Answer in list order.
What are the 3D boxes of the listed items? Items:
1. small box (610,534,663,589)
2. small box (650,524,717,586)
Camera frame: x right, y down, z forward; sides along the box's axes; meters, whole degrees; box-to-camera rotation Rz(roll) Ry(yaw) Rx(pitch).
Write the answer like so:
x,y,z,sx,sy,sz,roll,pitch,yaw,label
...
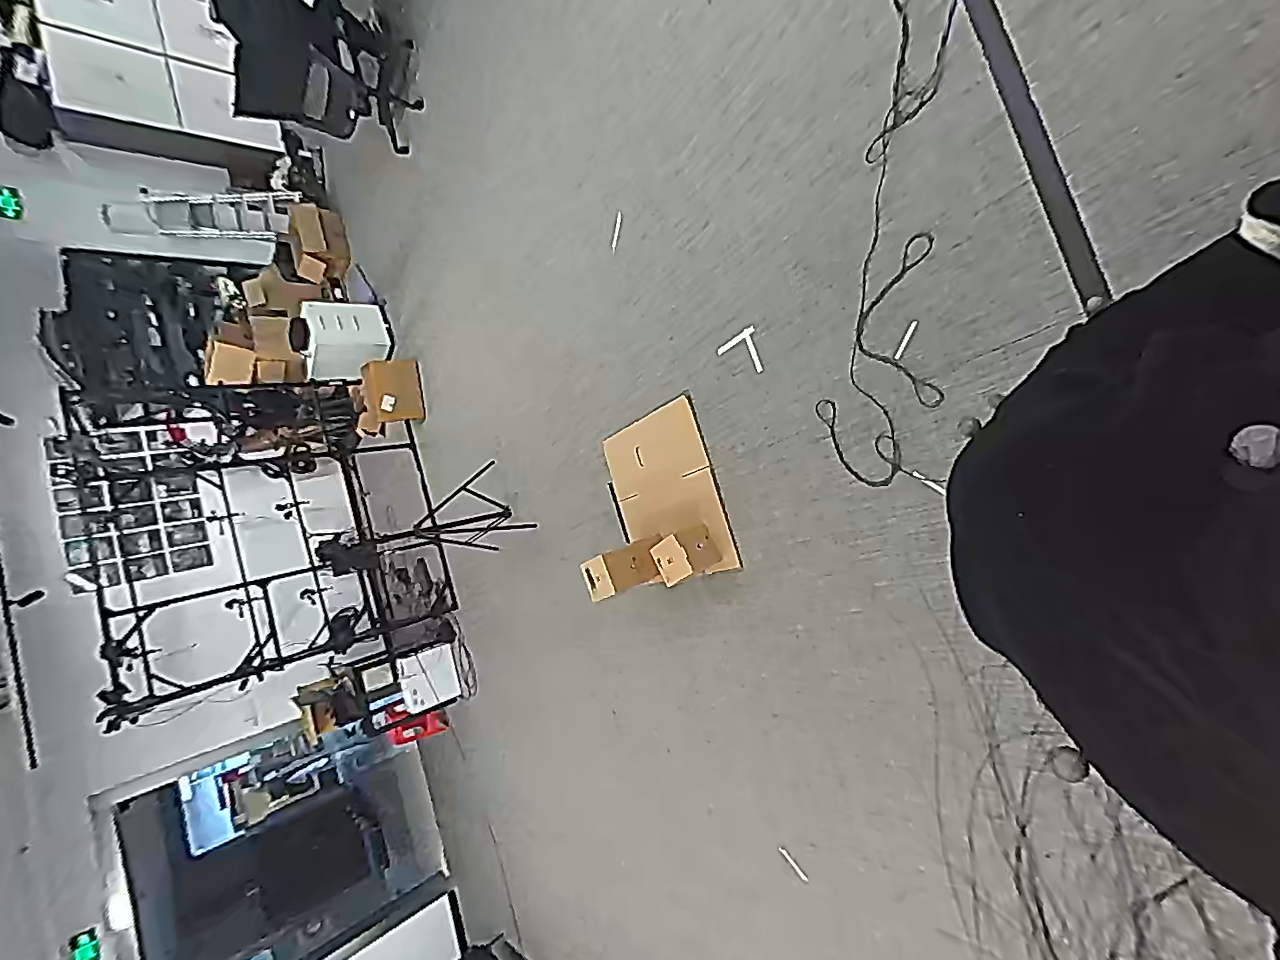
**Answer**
x,y,z,sx,sy,sz,roll,pitch,yaw,label
0.007,0.346,2.312,0.179,0.176,0.168,-37,72,47,small box
0.176,0.288,2.095,0.179,0.176,0.168,-42,67,45,small box
